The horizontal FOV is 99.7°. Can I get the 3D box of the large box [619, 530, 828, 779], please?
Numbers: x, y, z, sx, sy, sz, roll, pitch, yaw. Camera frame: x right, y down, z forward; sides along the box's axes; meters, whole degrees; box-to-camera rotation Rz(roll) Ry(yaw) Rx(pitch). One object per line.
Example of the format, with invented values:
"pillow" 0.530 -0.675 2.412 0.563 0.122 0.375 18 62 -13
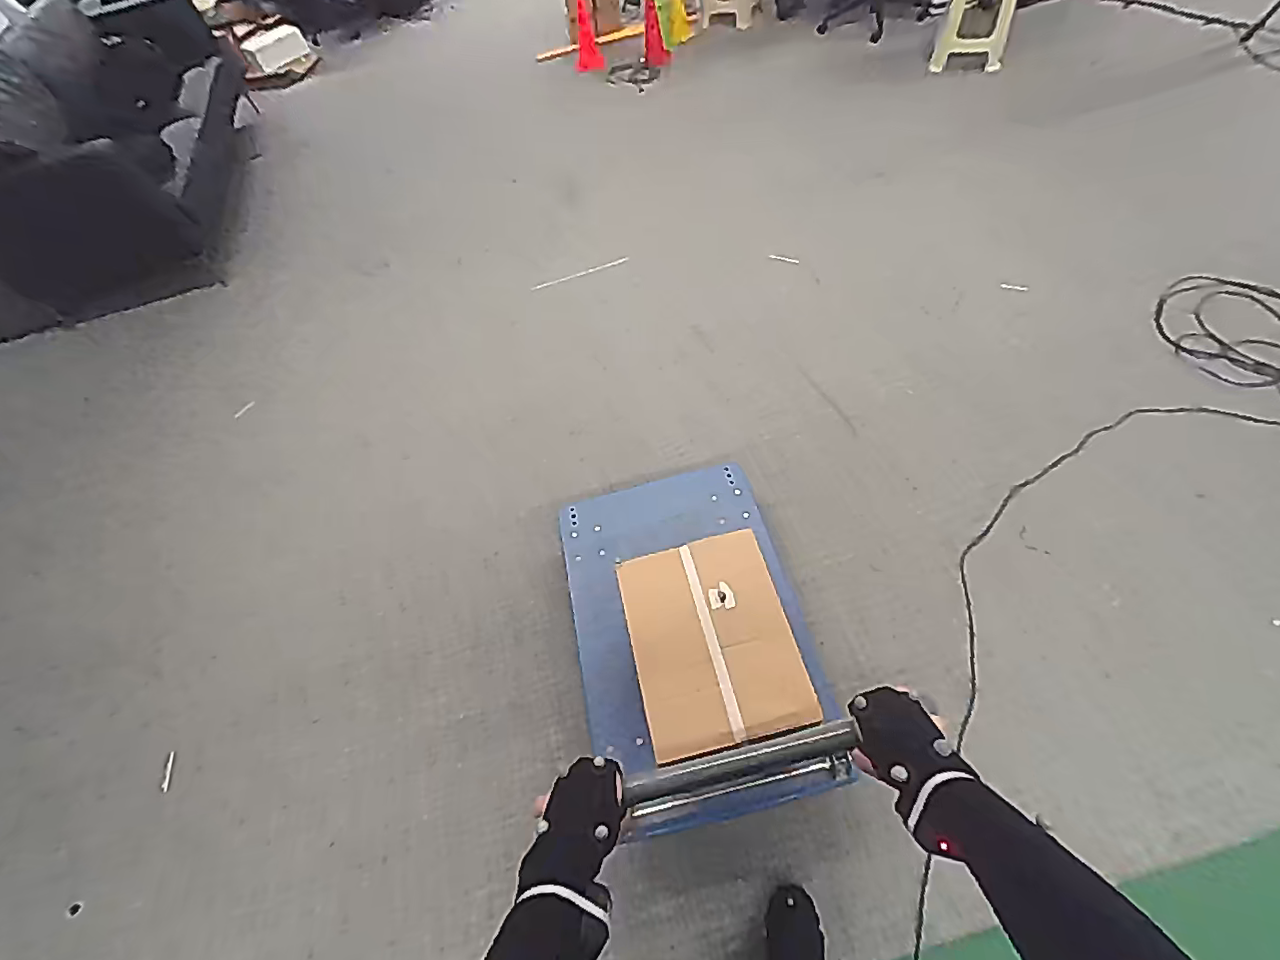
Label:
"large box" 0.167 0.386 1.188 0.320 0.320 0.408 -15 55 -1
